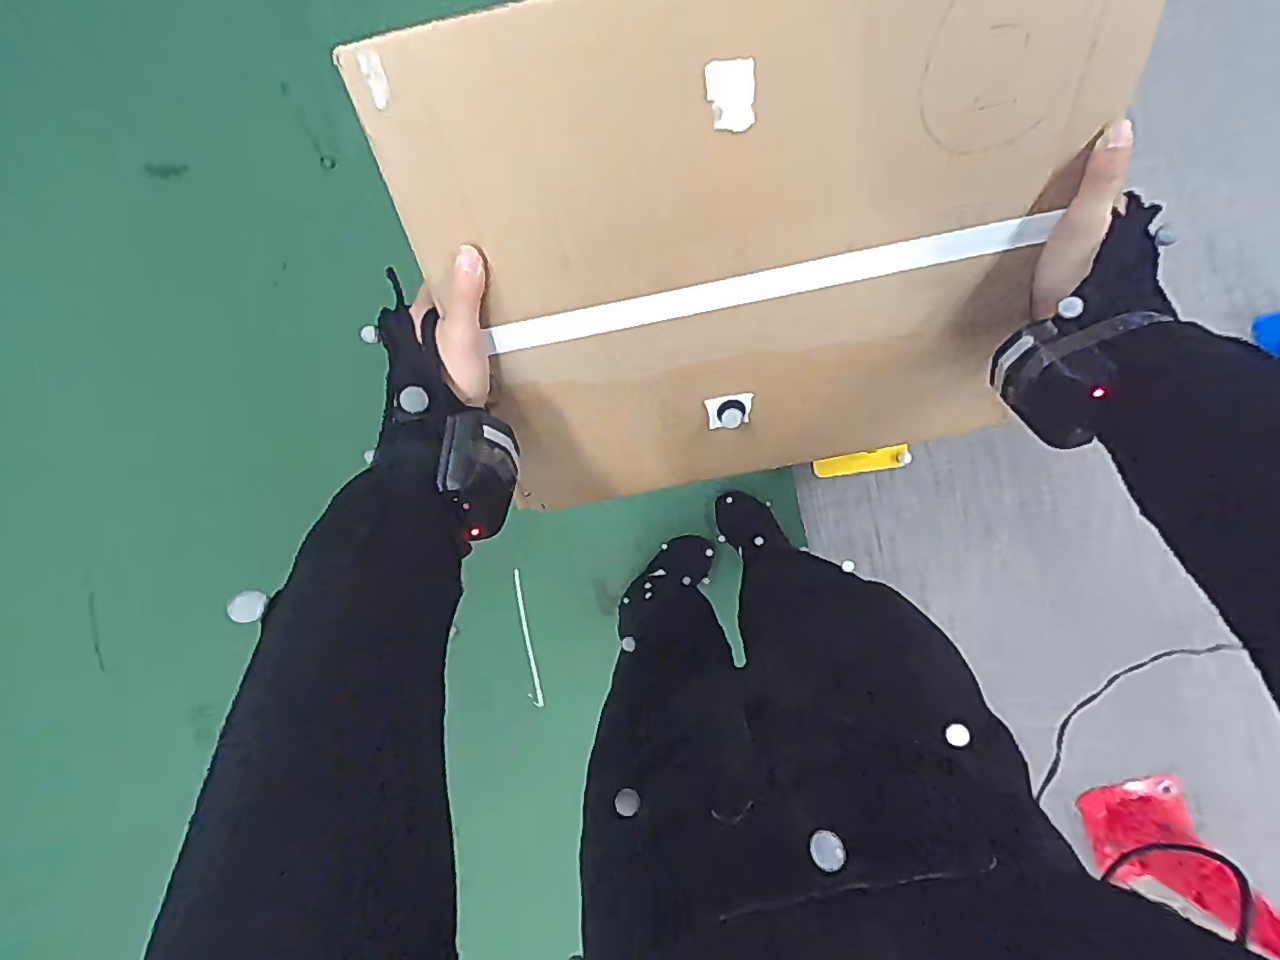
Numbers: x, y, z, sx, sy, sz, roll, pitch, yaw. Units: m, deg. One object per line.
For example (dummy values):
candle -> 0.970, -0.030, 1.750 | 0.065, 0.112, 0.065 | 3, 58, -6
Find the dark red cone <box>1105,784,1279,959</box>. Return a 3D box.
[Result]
dark red cone -> 1.018, 0.712, 0.901 | 0.201, 0.394, 0.202 | -19, 89, 8
